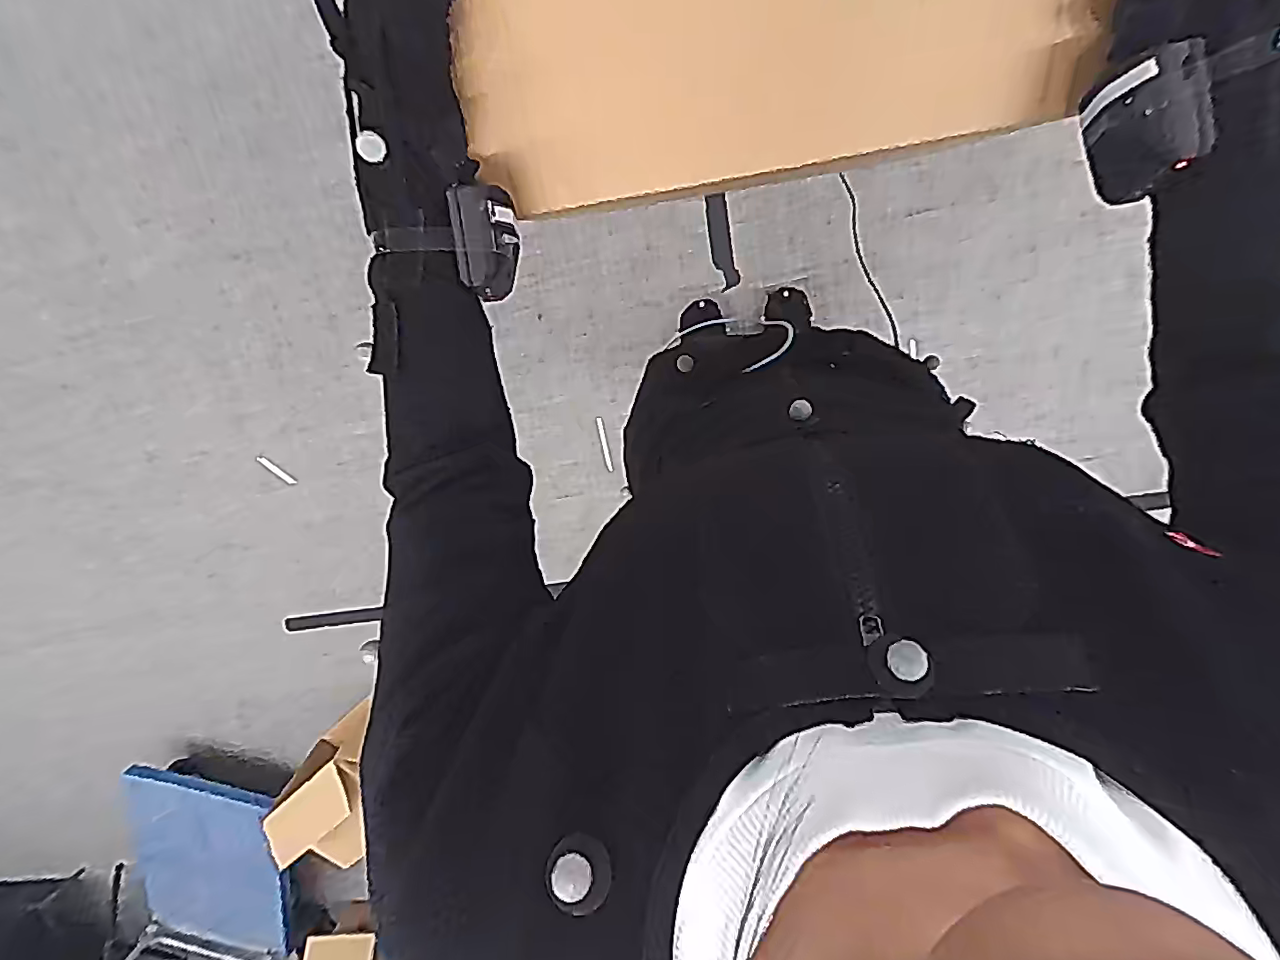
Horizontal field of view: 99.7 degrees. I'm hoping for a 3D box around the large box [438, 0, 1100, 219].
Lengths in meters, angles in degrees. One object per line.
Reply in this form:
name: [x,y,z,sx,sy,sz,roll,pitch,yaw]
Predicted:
large box: [0.070,-0.417,0.438,0.408,0.320,0.320,-7,116,7]
